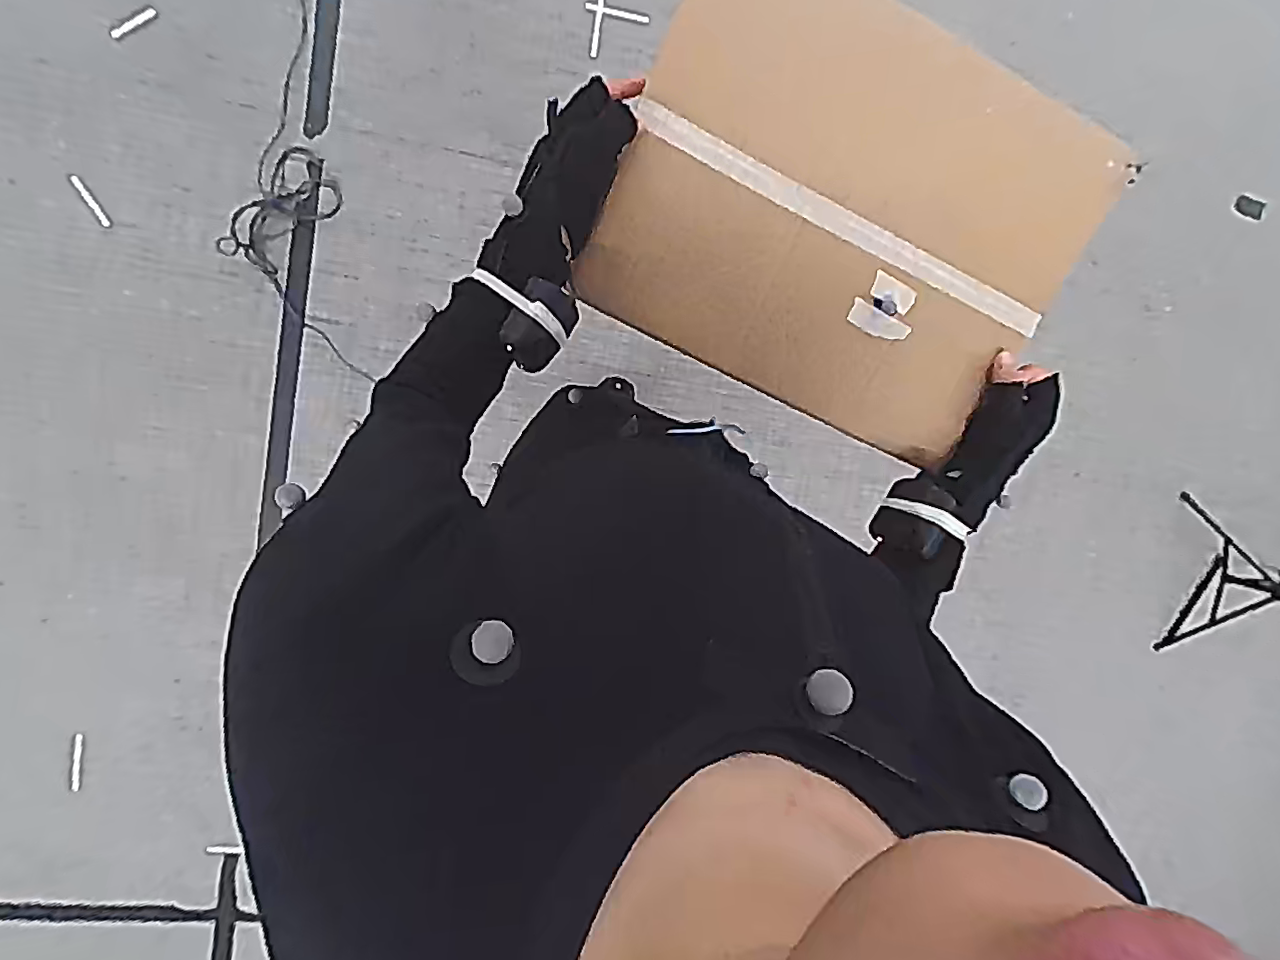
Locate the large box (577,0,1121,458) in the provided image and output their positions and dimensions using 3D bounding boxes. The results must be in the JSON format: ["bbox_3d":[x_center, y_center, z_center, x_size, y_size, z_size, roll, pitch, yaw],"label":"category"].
[{"bbox_3d":[0.176,-0.273,0.625,0.408,0.320,0.320,25,105,-9],"label":"large box"}]
